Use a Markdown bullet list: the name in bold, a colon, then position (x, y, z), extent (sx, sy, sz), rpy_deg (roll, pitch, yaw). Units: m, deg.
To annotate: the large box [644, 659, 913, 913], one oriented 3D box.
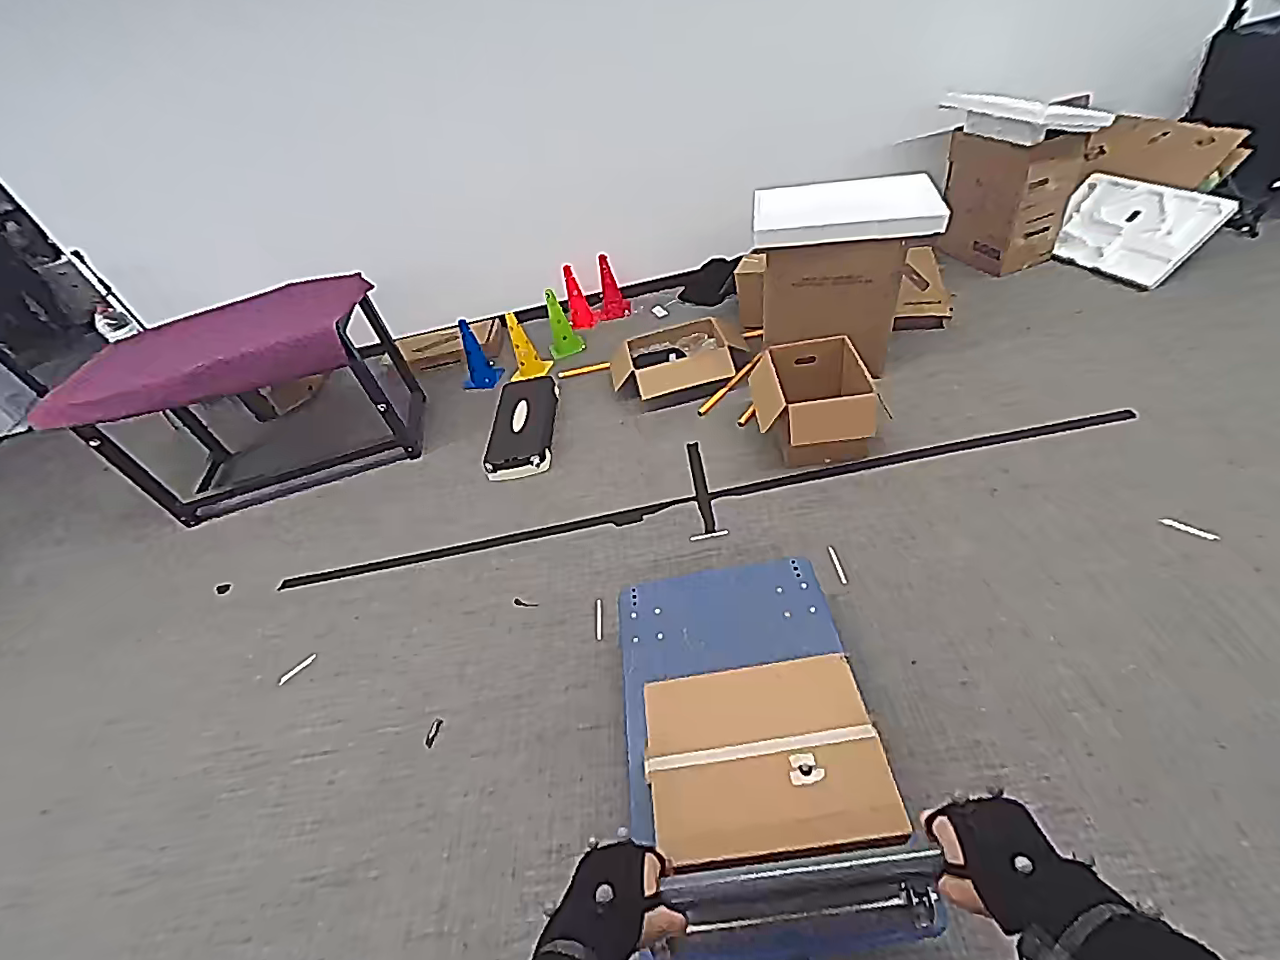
- **large box**: position (0.238, 0.591, 1.043), extent (0.408, 0.320, 0.320), rpy_deg (-10, 43, 4)
